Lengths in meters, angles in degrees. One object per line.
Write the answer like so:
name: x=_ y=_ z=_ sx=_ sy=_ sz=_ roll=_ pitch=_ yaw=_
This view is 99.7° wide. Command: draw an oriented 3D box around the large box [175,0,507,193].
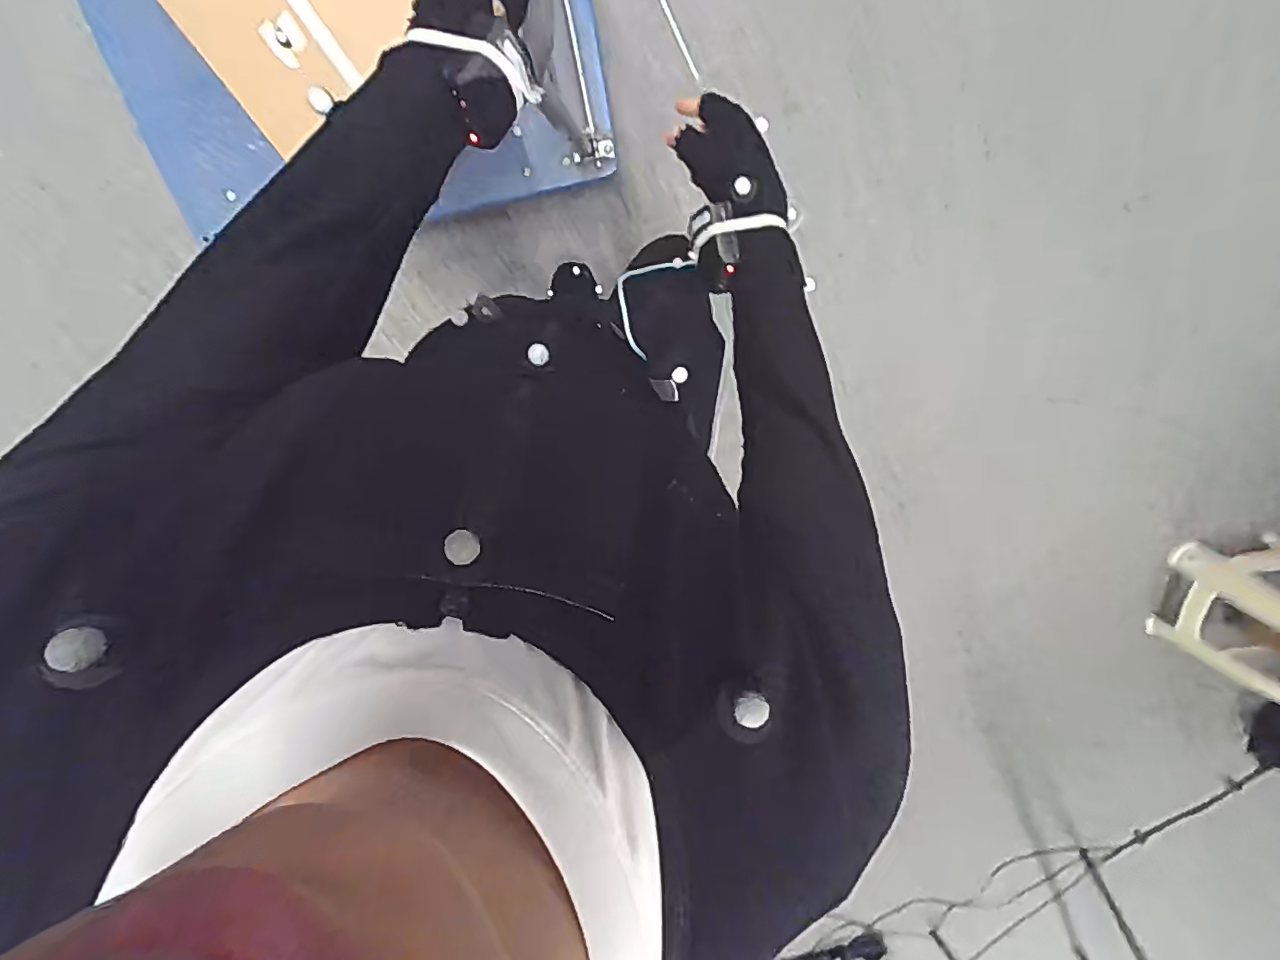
large box: x=-0.472 y=-0.738 z=0.848 sx=0.320 sy=0.320 sz=0.408 roll=-31 pitch=112 yaw=10
